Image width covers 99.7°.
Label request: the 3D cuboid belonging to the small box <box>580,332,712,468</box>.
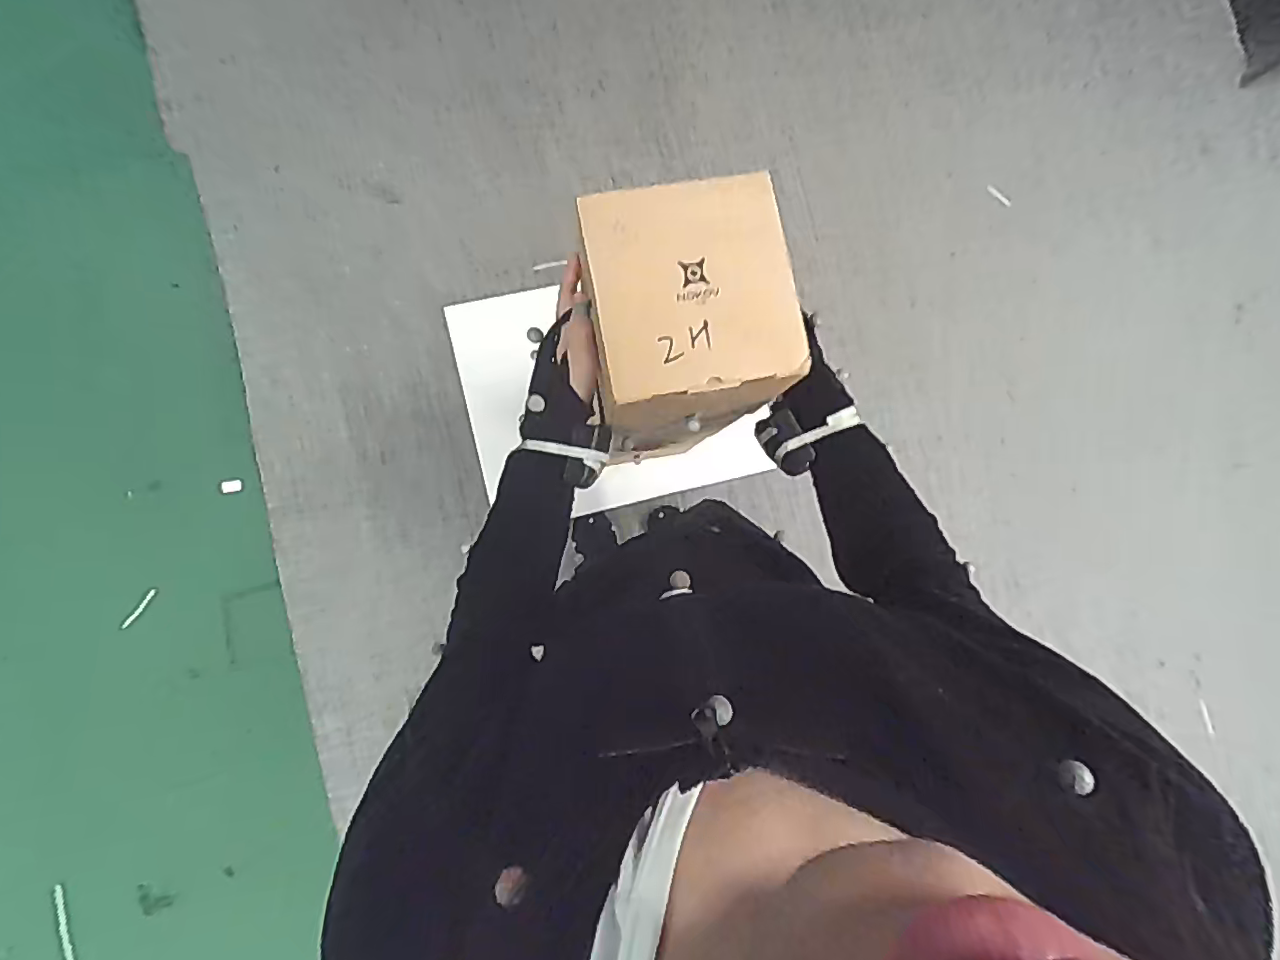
[{"bbox_3d":[0.000,-0.123,0.830,0.168,0.176,0.179,-10,86,-6],"label":"small box"}]

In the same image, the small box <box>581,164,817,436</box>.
[{"bbox_3d":[0.039,-0.152,0.502,0.168,0.176,0.179,-10,85,-5],"label":"small box"}]
